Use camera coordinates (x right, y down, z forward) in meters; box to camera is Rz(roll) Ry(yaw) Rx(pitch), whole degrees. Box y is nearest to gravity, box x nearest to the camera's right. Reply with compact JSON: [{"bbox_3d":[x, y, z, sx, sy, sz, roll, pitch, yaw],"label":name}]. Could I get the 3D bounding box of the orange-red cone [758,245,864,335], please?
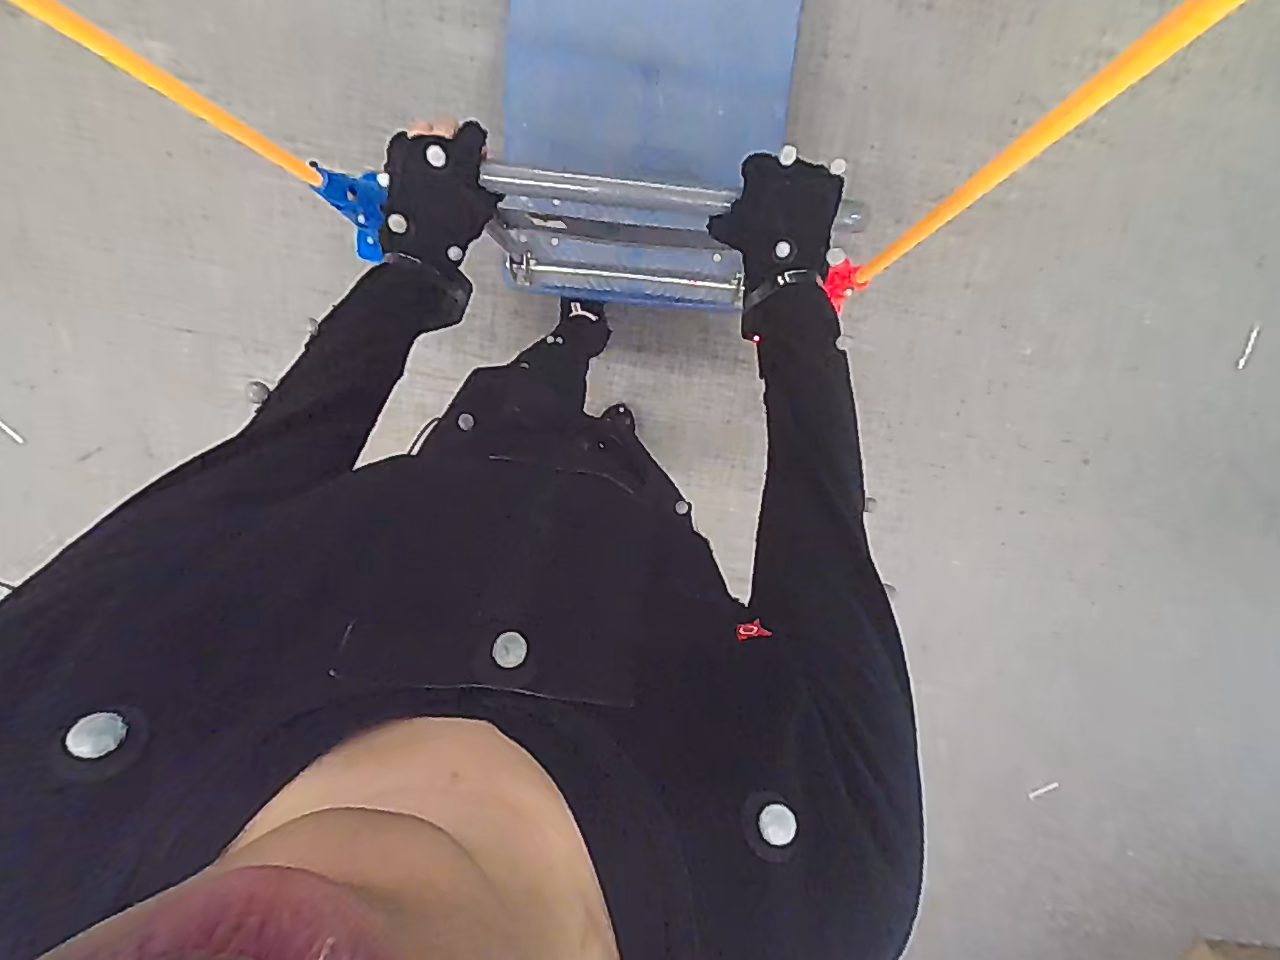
[{"bbox_3d":[0.410,-0.441,1.205,0.199,0.360,0.198,10,103,-2],"label":"orange-red cone"}]
